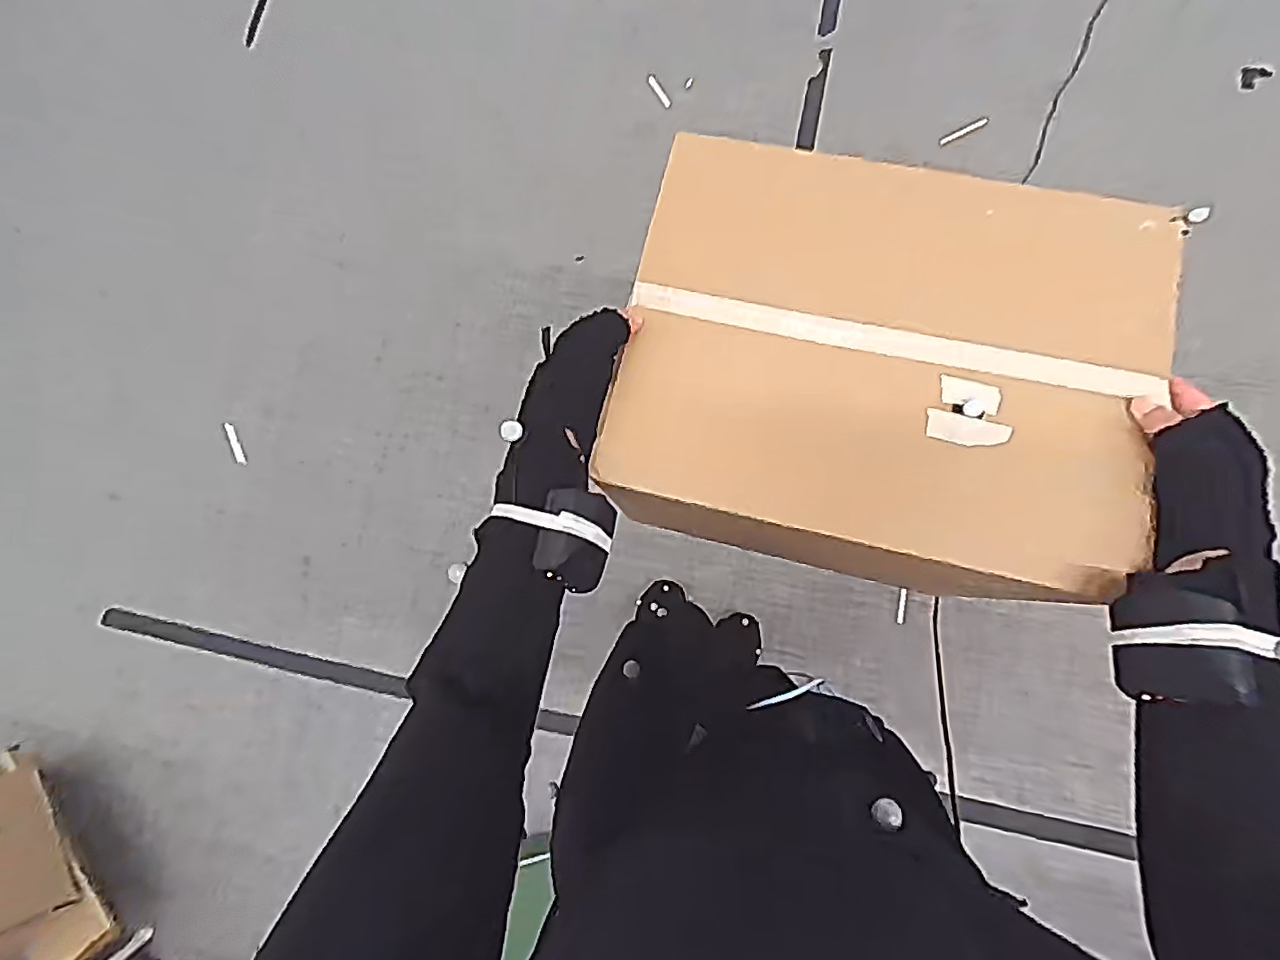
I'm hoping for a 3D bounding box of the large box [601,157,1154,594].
[{"bbox_3d":[0.200,-0.076,0.580,0.408,0.320,0.320,13,82,6],"label":"large box"}]
